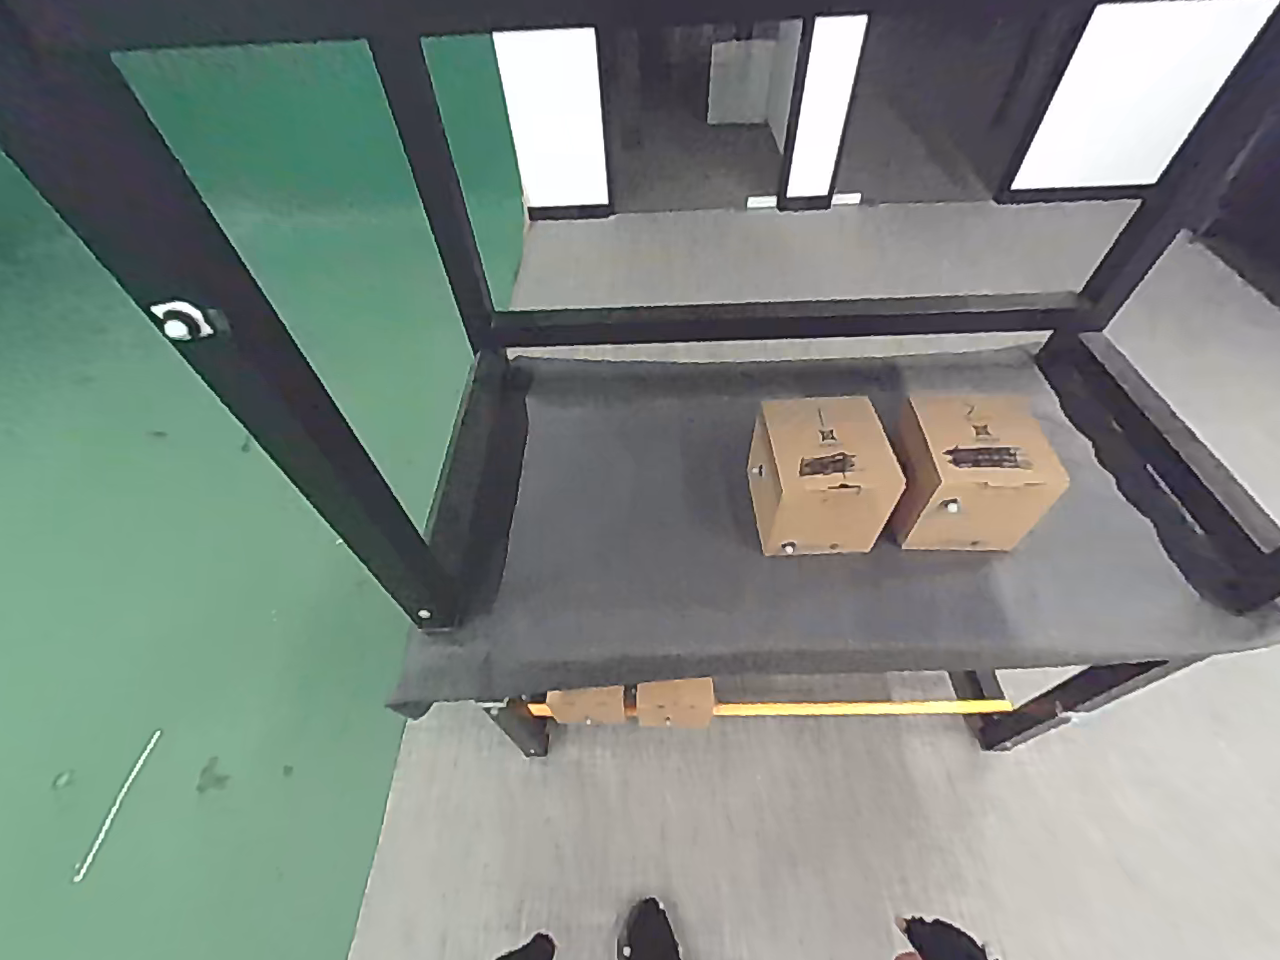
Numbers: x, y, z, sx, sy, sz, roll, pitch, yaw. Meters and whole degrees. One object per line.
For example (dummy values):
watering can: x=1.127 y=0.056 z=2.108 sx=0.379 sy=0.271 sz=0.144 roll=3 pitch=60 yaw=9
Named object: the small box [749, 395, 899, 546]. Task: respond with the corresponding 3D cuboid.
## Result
small box: x=0.270 y=-0.008 z=0.839 sx=0.168 sy=0.176 sz=0.179 roll=-2 pitch=50 yaw=1
